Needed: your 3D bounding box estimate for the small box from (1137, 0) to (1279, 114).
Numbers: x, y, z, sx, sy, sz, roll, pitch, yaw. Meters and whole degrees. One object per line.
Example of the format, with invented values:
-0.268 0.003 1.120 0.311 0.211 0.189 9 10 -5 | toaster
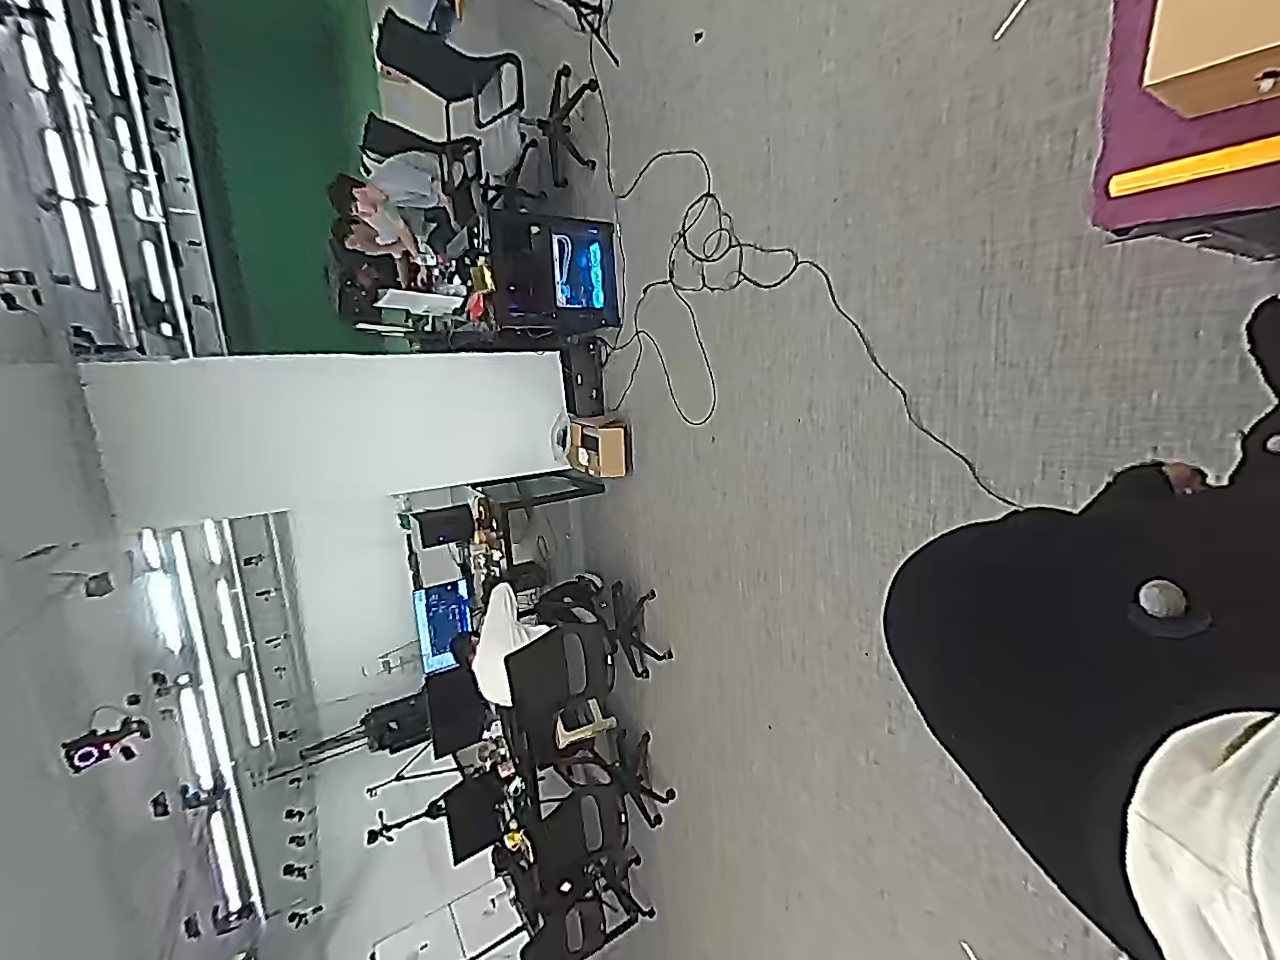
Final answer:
0.621 -0.474 0.505 0.179 0.176 0.168 20 116 54 | small box
